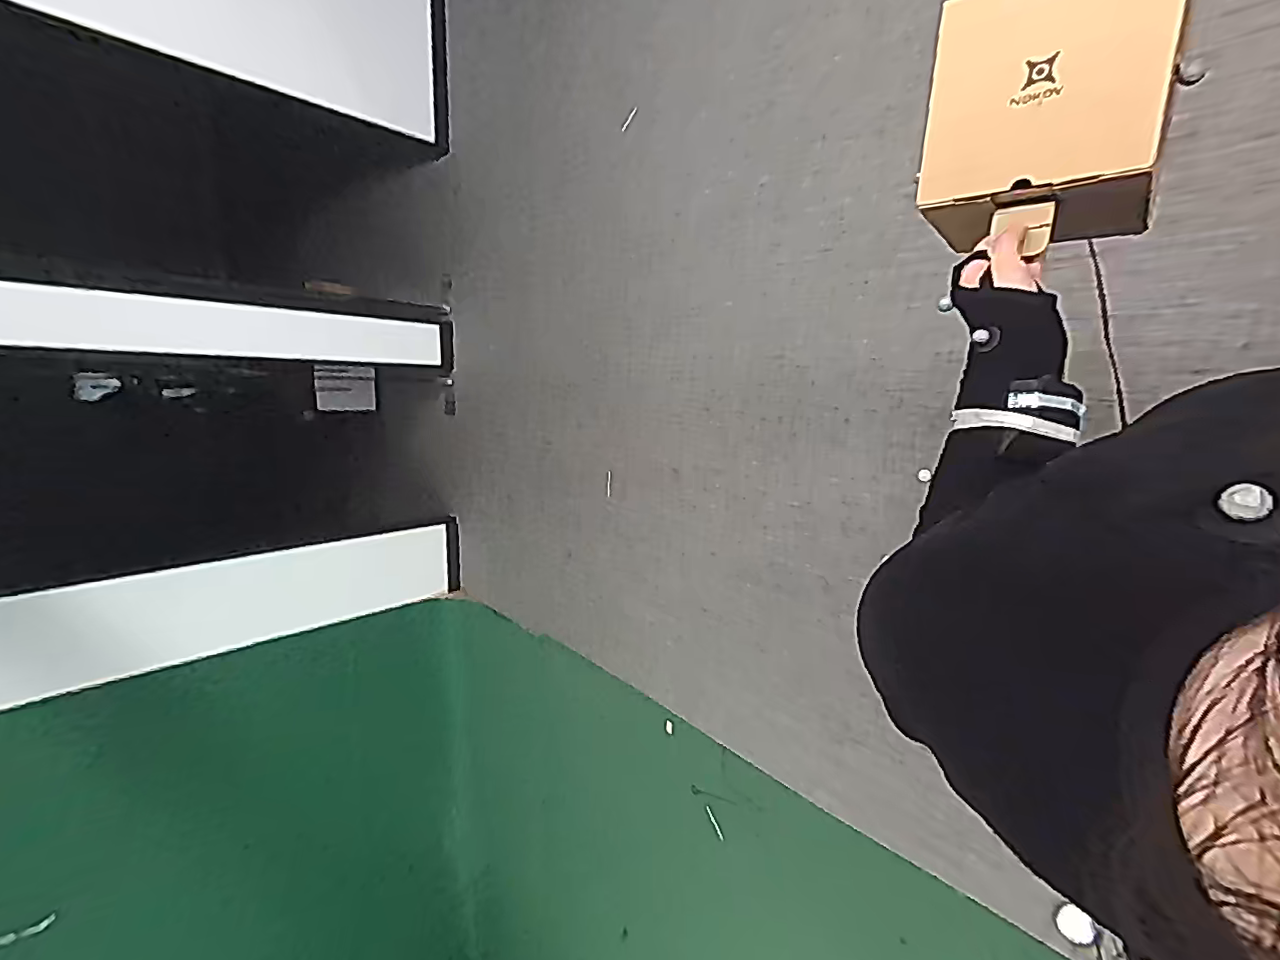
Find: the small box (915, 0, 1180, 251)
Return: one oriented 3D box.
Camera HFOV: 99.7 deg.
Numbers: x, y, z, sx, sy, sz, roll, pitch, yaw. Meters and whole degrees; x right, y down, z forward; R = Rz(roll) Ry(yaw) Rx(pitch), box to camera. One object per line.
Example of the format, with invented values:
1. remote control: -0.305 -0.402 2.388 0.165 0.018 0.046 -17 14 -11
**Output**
1. small box: 0.384 -0.337 0.515 0.168 0.176 0.179 11 102 41
